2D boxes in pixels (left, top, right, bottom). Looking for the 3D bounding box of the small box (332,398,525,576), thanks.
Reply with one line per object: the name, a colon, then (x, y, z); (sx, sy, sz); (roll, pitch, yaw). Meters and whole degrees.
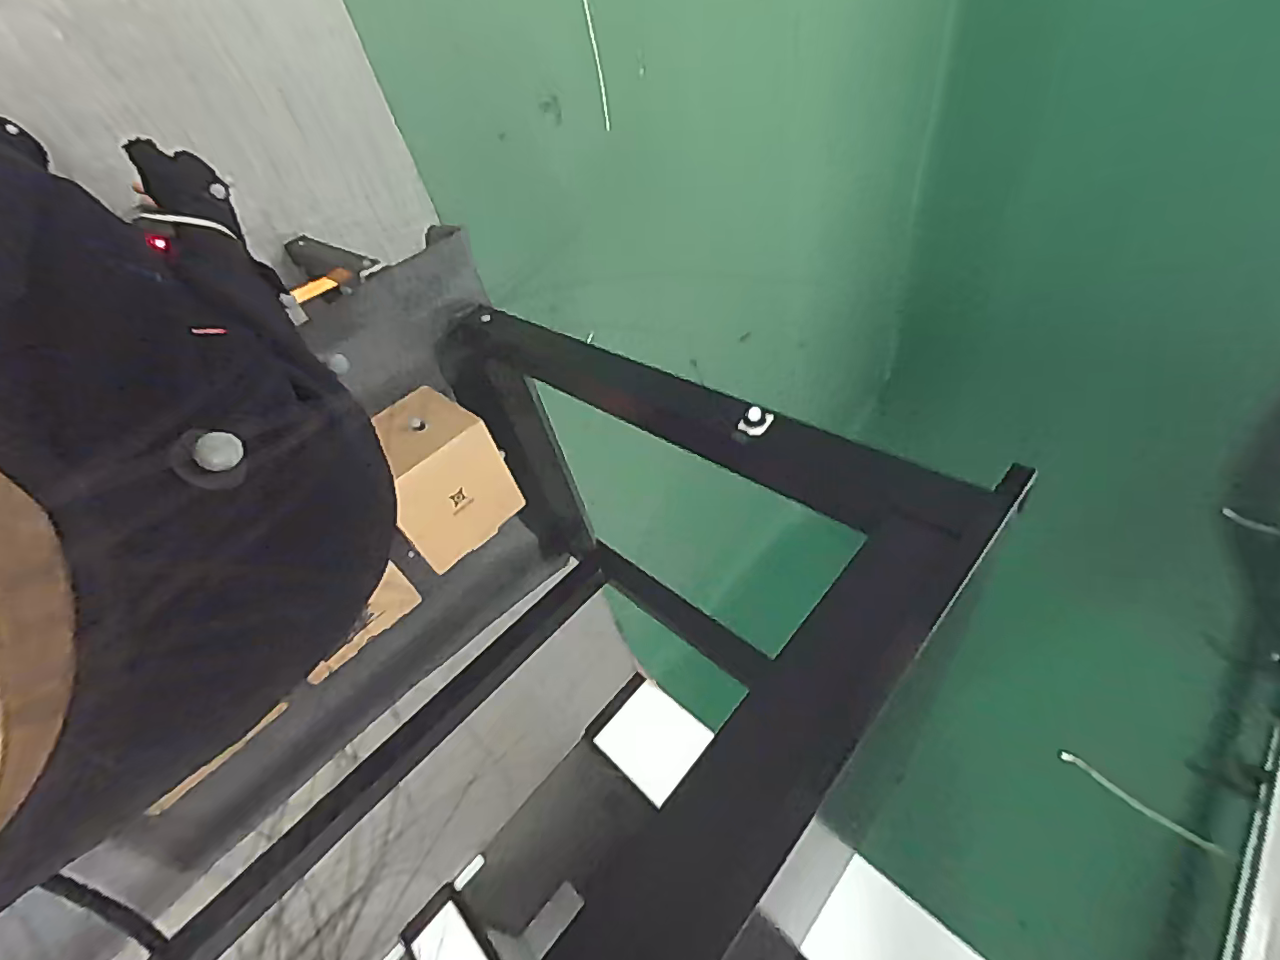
small box: (-0.305, -0.001, 0.786); (0.168, 0.176, 0.179); (-42, 140, -24)
